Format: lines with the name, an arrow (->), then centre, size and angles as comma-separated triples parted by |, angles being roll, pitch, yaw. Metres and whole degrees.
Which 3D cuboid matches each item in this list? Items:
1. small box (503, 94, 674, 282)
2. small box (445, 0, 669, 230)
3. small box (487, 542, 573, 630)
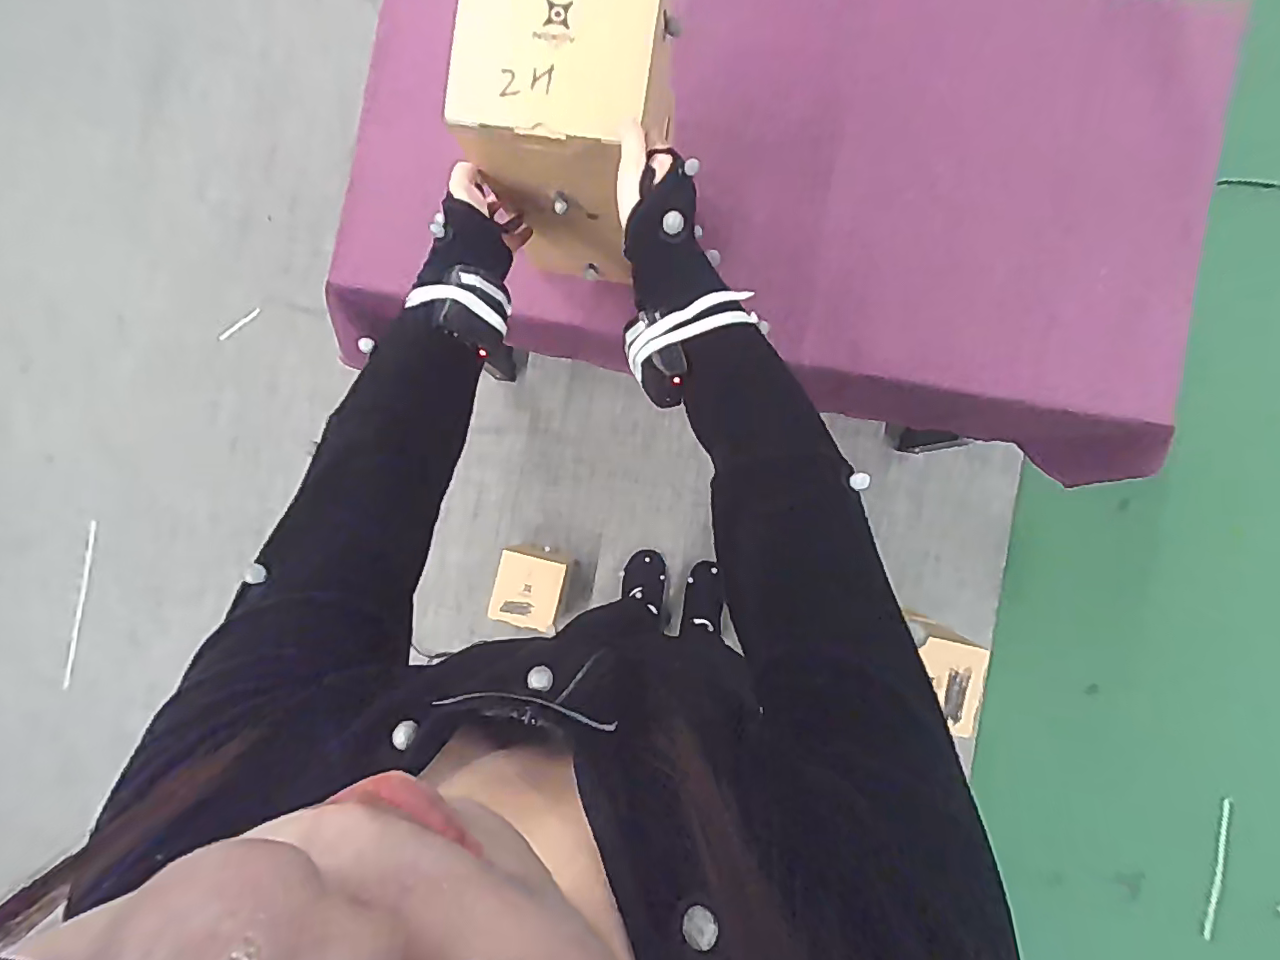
small box -> -0.058, -0.372, 0.696 | 0.179, 0.176, 0.168 | 9, 88, 1
small box -> -0.066, -0.373, 0.524 | 0.168, 0.176, 0.179 | 9, 94, 3
small box -> -0.281, 0.270, 1.419 | 0.168, 0.176, 0.179 | 14, 88, 1
